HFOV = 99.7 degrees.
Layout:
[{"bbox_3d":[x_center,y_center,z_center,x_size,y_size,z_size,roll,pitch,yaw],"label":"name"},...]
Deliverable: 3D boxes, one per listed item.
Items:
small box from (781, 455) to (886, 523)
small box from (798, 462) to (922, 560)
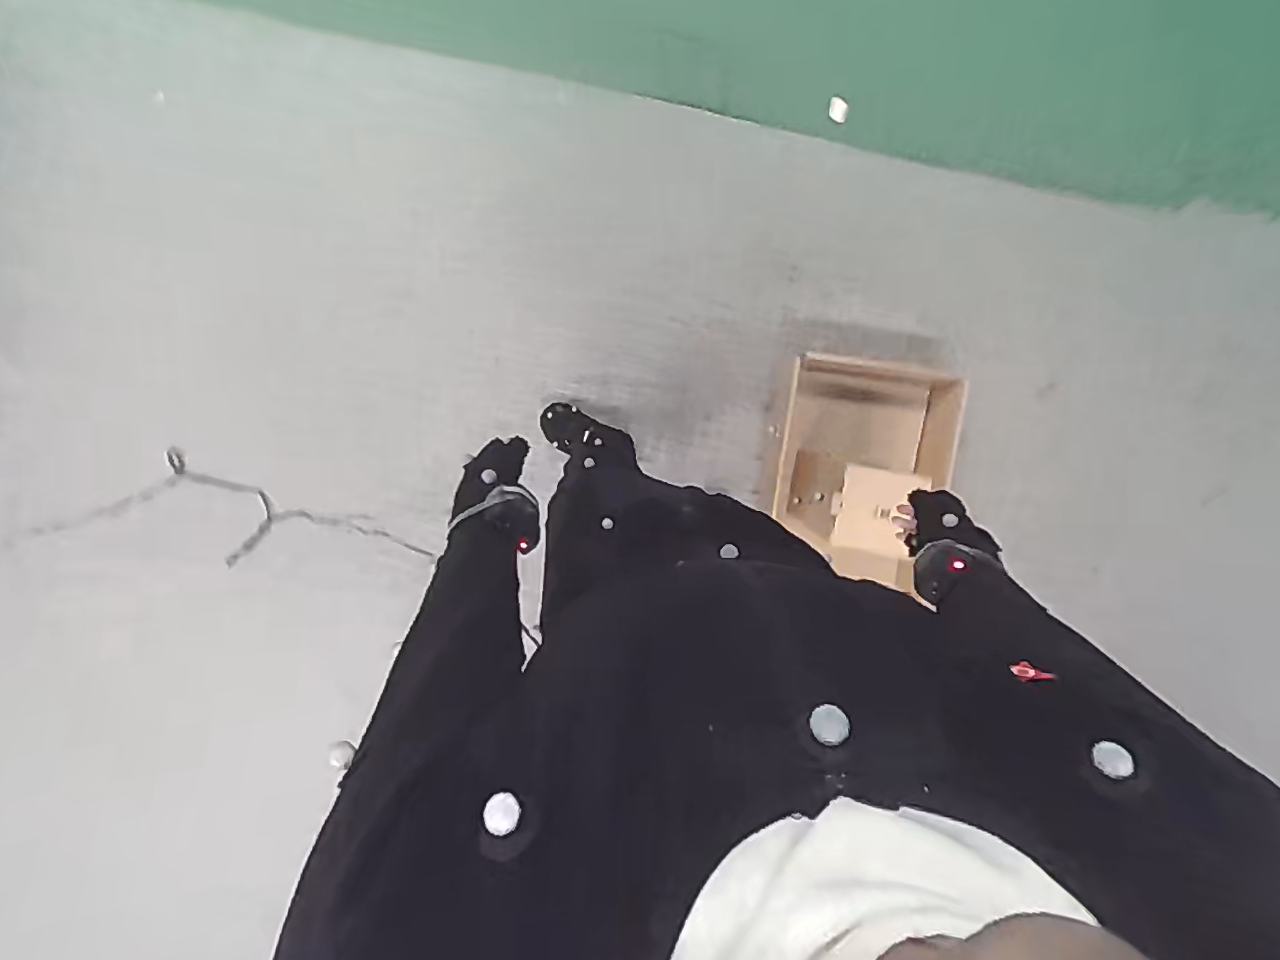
[{"bbox_3d":[0.460,0.033,1.314,0.179,0.176,0.168,8,97,-4],"label":"small box"},{"bbox_3d":[0.457,0.058,1.152,0.179,0.176,0.168,11,96,-3],"label":"small box"}]
